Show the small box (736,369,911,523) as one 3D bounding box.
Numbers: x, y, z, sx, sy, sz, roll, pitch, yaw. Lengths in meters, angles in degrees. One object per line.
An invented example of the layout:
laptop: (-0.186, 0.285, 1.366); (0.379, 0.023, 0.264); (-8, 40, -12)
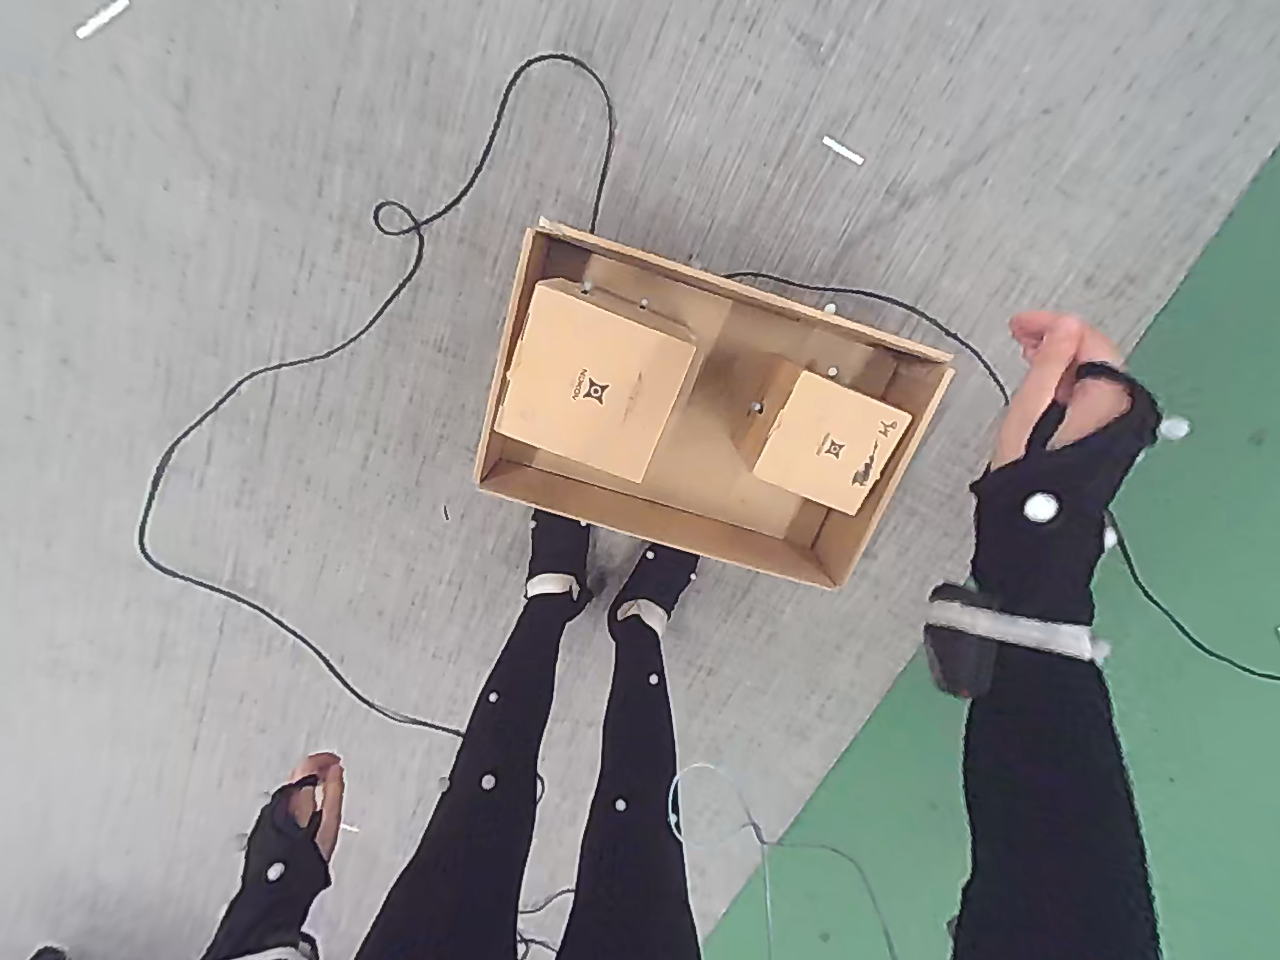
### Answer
small box: (0.267, -0.063, 0.837); (0.179, 0.176, 0.168); (22, 108, -7)

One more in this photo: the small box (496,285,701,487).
small box: (-0.047, -0.118, 0.646); (0.179, 0.176, 0.168); (21, 109, -8)
